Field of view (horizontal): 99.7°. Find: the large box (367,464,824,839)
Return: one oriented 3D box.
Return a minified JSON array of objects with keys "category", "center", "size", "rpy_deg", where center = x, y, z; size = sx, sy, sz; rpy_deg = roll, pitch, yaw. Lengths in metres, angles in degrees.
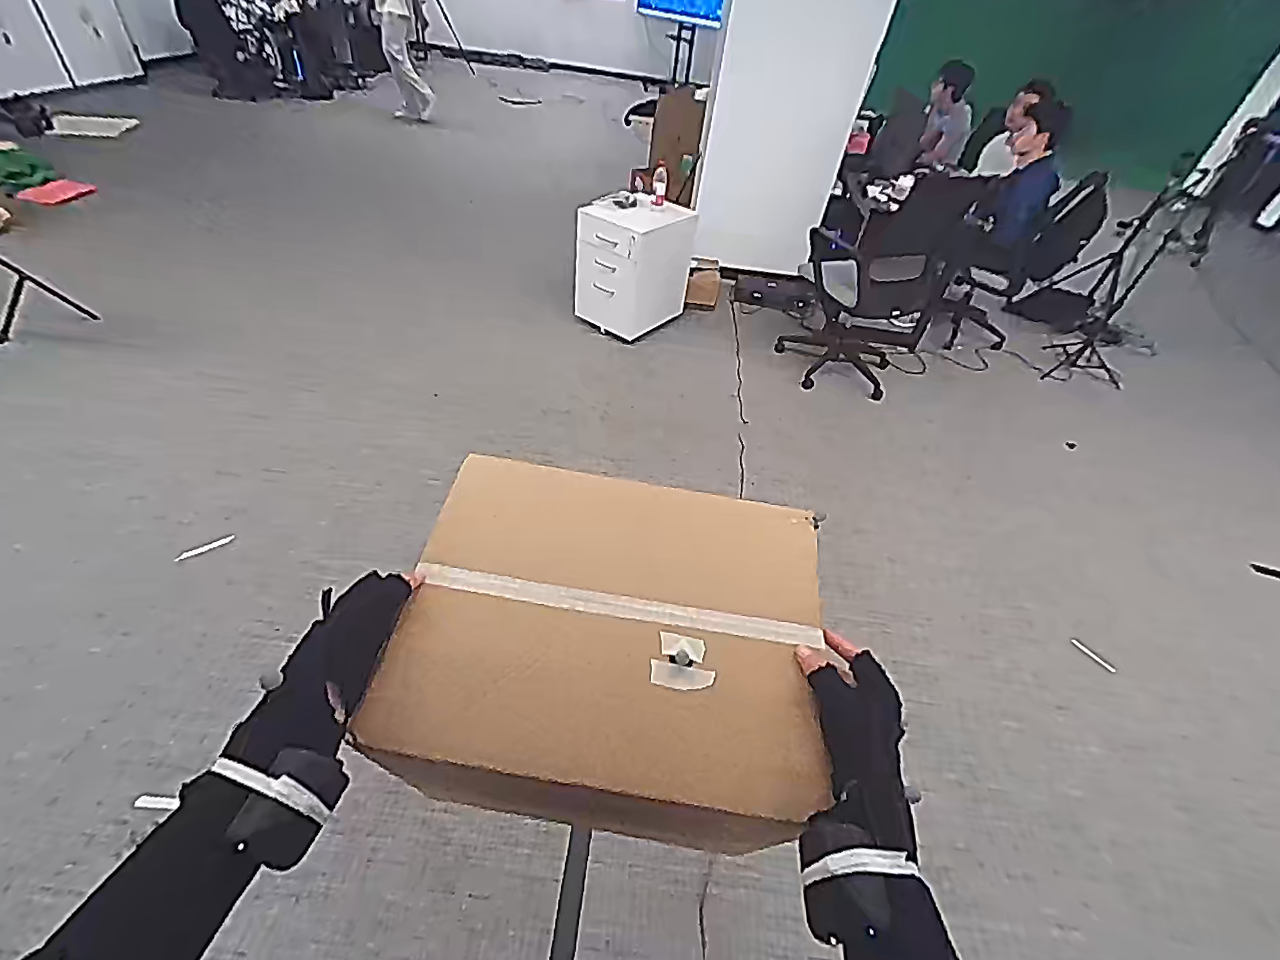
[{"category":"large box","center":[-0.035,0.219,0.665],"size":[0.408,0.320,0.320],"rpy_deg":[10,53,1]}]
